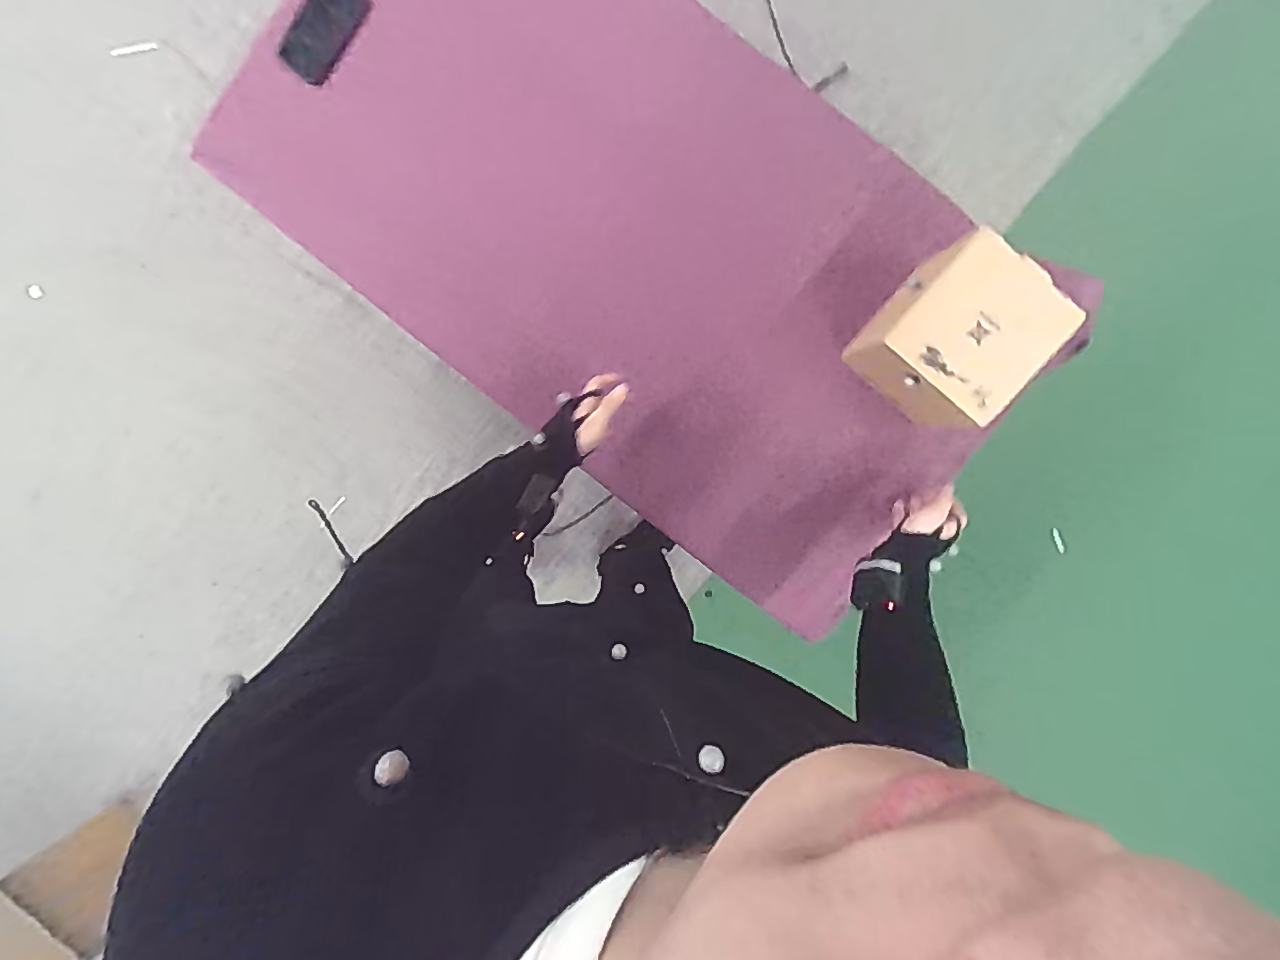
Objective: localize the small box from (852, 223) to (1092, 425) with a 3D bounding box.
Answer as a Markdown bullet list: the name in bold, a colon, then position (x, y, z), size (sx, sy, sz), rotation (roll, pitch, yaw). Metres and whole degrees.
- **small box**: position (0.415, -0.190, 0.714), size (0.168, 0.176, 0.179), rotation (41, 97, 0)
